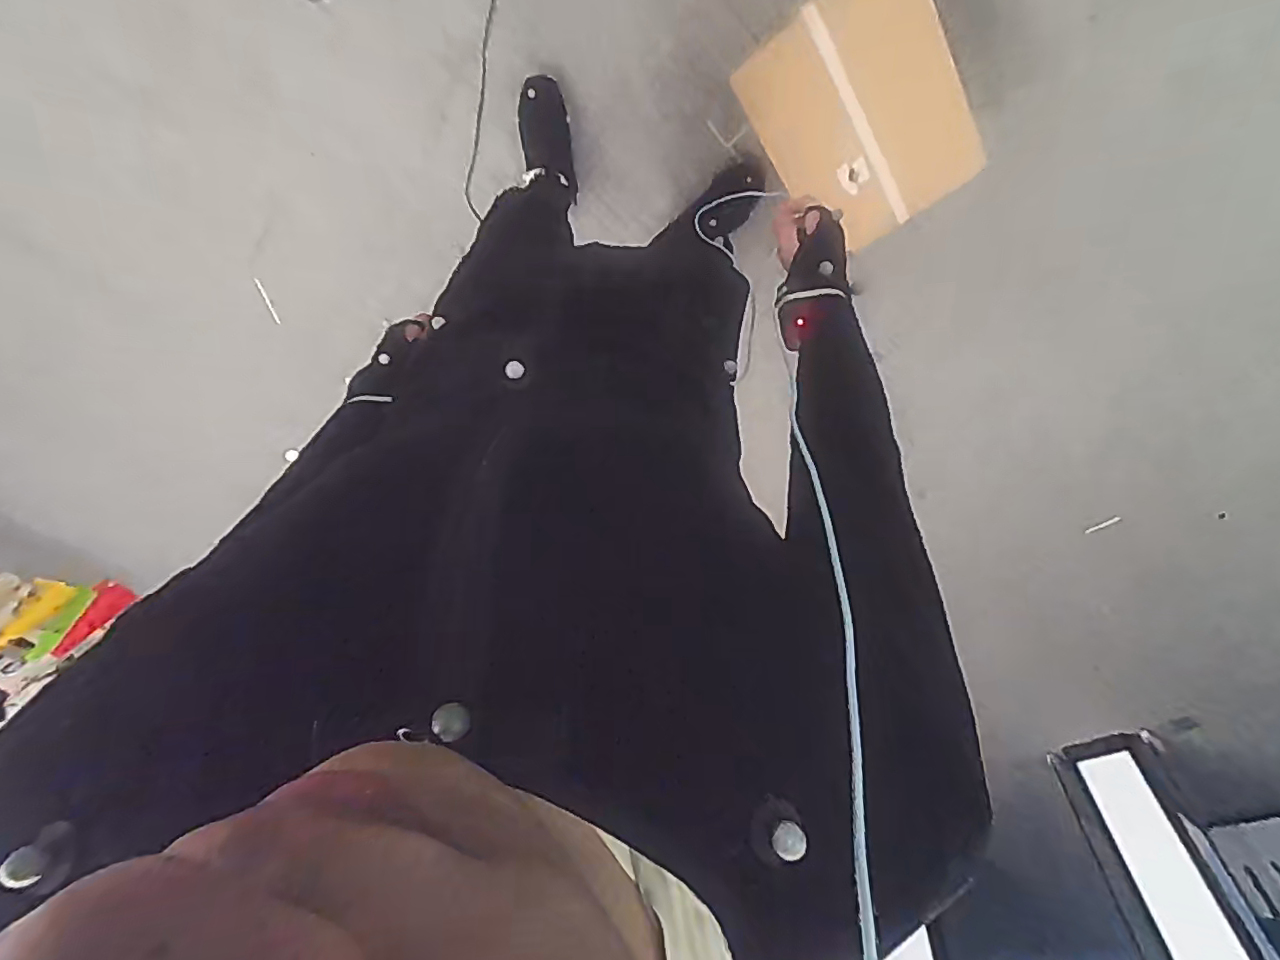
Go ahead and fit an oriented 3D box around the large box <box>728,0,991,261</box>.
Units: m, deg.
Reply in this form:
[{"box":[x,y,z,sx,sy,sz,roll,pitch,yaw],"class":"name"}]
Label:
[{"box":[0.414,-0.736,1.079,0.320,0.320,0.408,-28,121,27],"class":"large box"}]
